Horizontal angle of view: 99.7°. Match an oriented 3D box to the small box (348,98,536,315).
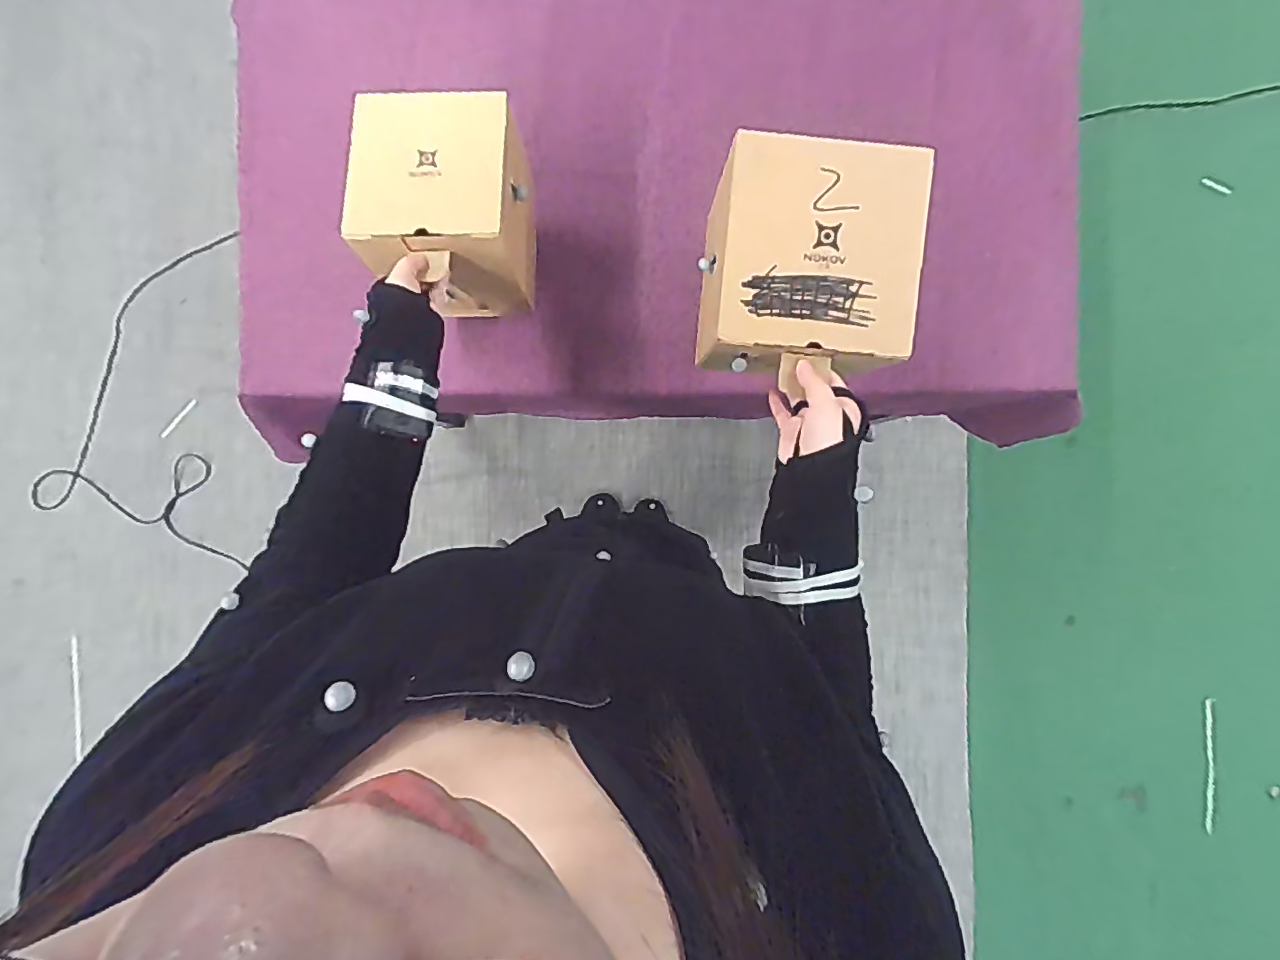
[{"bbox_3d":[-0.225,-0.323,0.663,0.168,0.176,0.179,0,79,0],"label":"small box"}]
